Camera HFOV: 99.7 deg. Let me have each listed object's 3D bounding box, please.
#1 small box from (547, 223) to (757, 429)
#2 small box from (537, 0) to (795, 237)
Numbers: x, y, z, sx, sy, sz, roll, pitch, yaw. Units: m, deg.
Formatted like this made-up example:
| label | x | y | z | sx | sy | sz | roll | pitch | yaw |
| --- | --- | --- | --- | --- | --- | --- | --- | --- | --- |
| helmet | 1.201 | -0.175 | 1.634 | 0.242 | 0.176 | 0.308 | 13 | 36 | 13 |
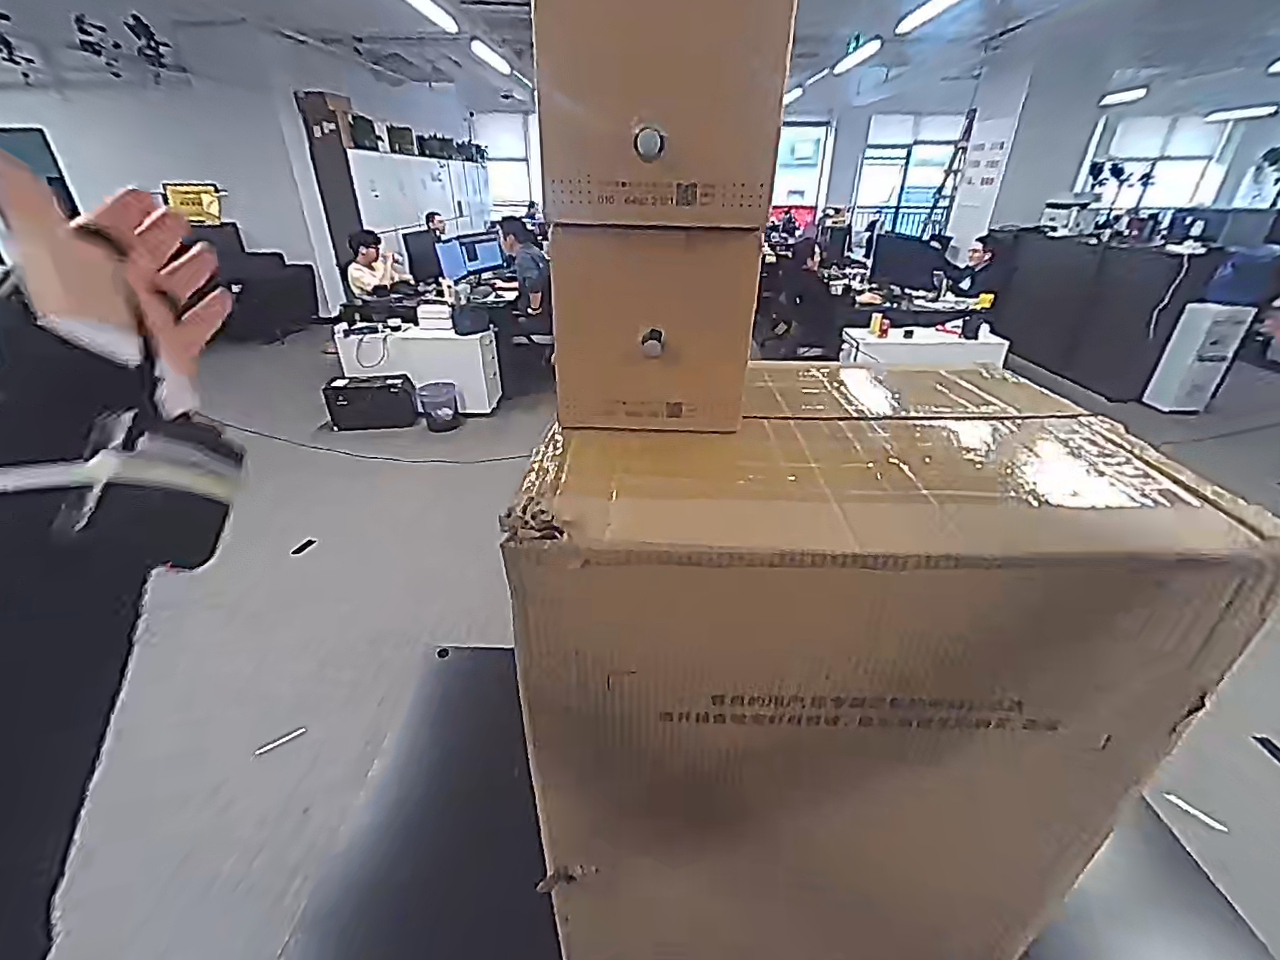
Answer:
| label | x | y | z | sx | sy | sz | roll | pitch | yaw |
| --- | --- | --- | --- | --- | --- | --- | --- | --- | --- |
| small box | 0.011 | -0.156 | 0.522 | 0.168 | 0.176 | 0.179 | 2 | 29 | 0 |
| small box | 0.016 | -0.294 | 0.429 | 0.168 | 0.176 | 0.179 | 2 | 29 | 2 |
